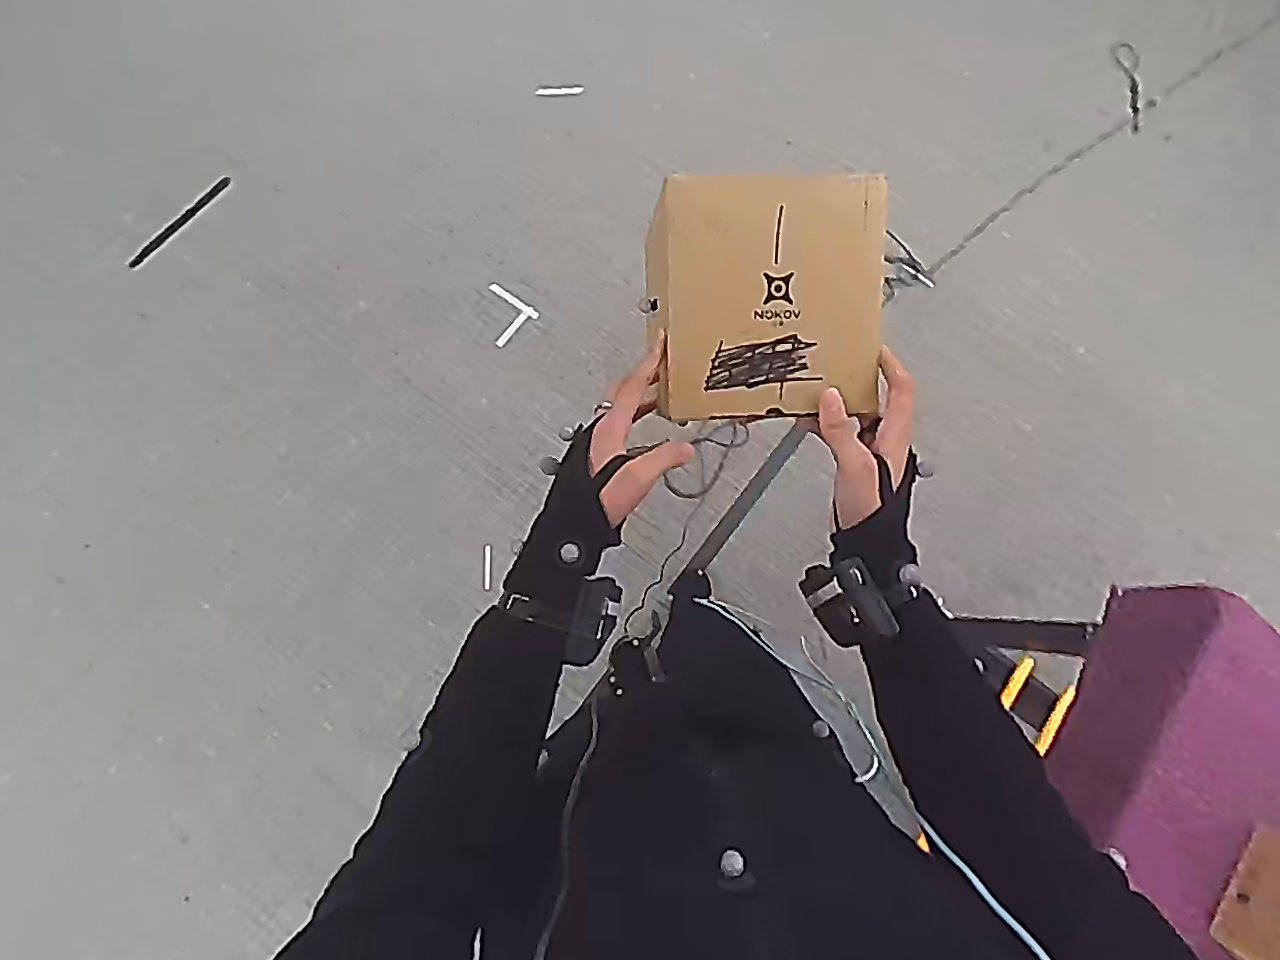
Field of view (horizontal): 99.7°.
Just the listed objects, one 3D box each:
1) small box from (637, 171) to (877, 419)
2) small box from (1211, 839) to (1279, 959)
[{"bbox_3d":[0.086,-0.149,0.479,0.168,0.176,0.179,-3,100,-5],"label":"small box"},{"bbox_3d":[0.864,0.572,0.643,0.179,0.176,0.168,40,79,5],"label":"small box"}]
